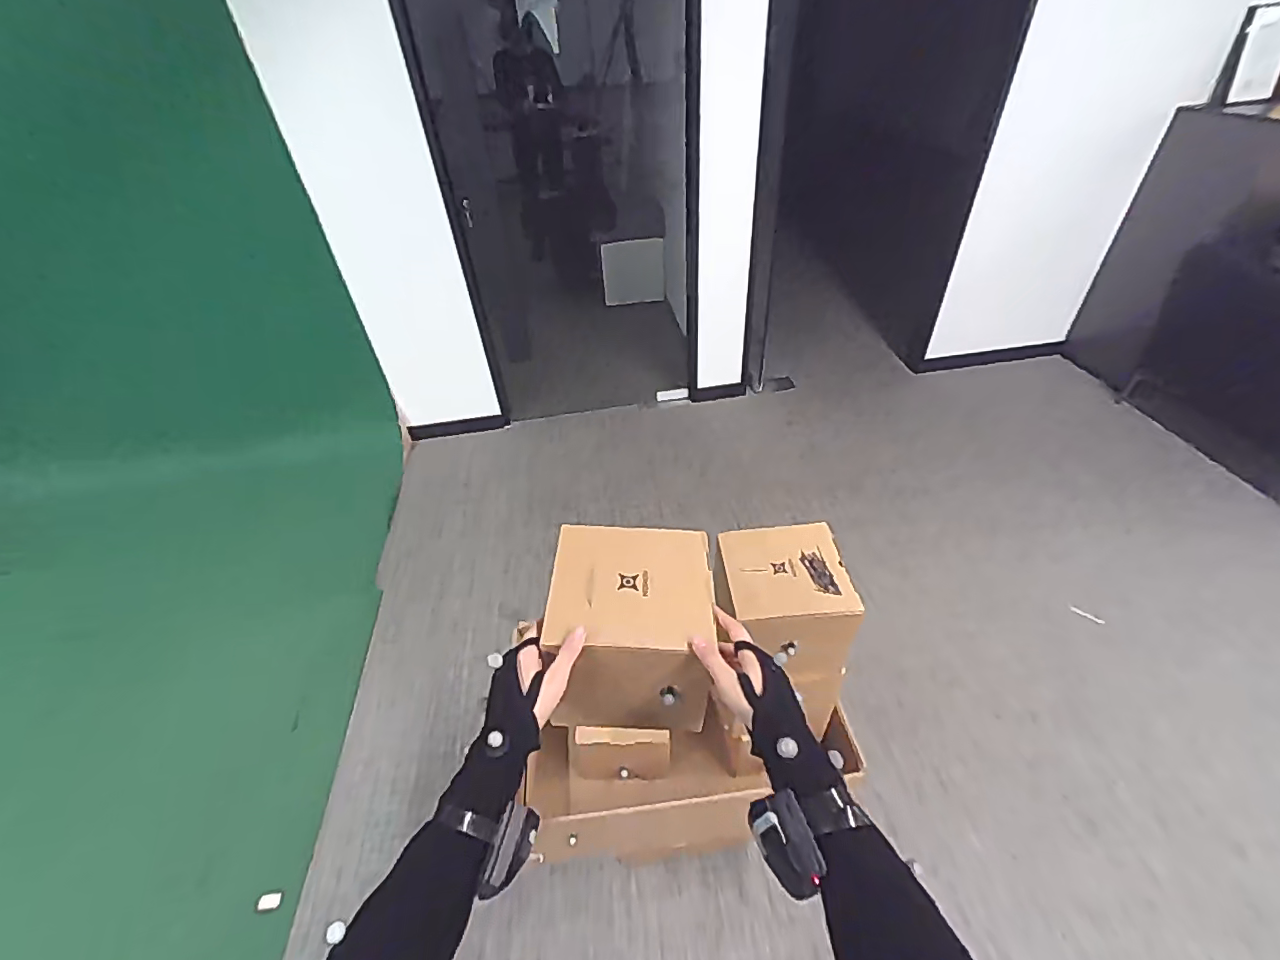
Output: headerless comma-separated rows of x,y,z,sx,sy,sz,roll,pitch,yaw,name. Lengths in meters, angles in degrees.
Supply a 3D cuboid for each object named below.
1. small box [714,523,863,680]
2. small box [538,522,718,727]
0.214,0.188,0.832,0.179,0.176,0.168,-5,41,1,small box
-0.011,0.170,0.631,0.179,0.176,0.168,3,40,1,small box
